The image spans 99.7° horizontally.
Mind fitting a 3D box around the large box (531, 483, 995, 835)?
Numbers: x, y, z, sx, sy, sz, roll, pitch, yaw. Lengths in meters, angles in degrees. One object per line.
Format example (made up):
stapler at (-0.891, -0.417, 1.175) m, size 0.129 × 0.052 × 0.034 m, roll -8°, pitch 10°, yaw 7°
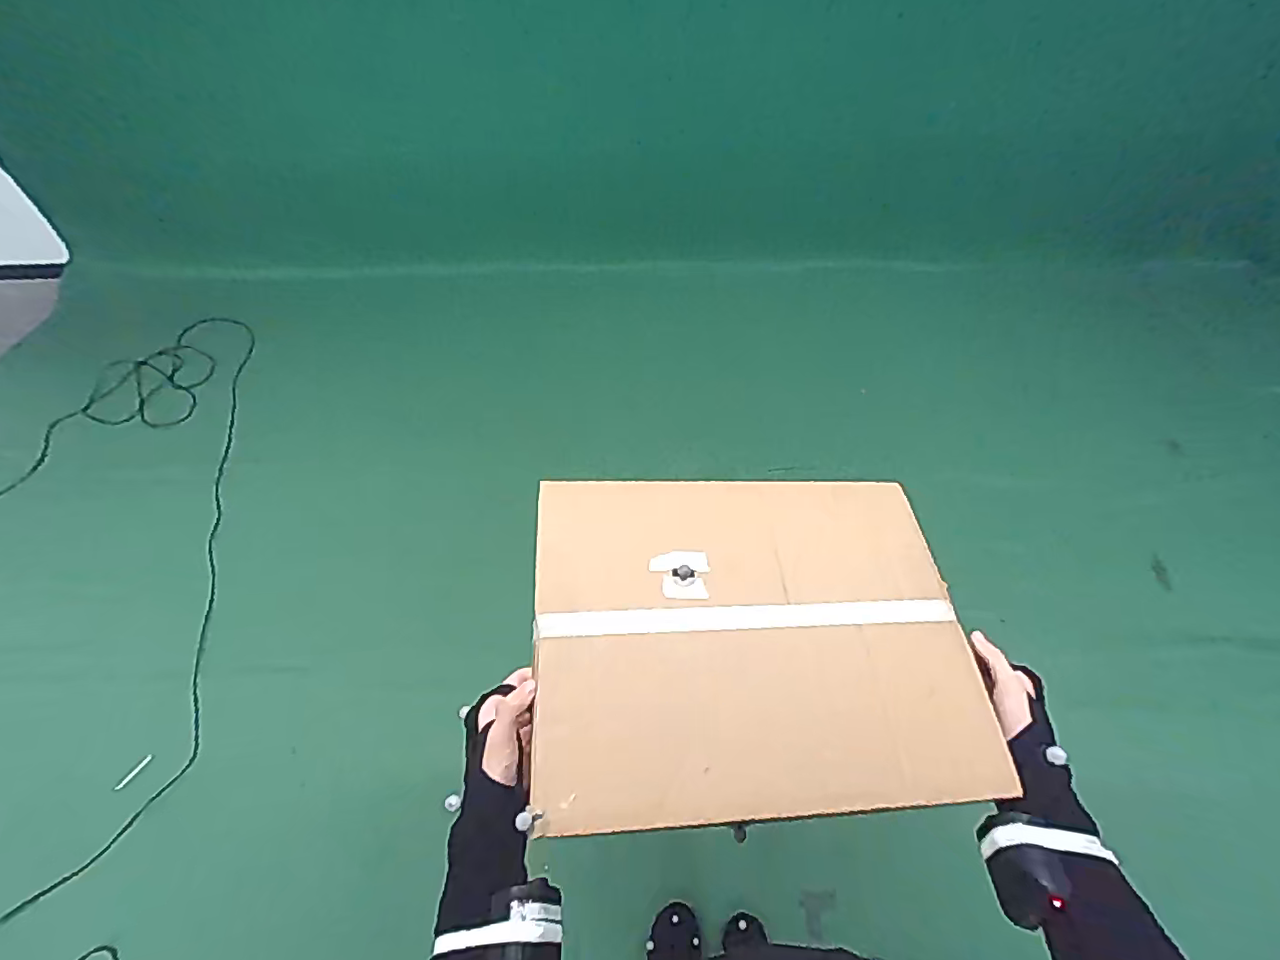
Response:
large box at (0.088, 0.216, 0.643) m, size 0.408 × 0.320 × 0.320 m, roll -1°, pitch 57°, yaw -7°
